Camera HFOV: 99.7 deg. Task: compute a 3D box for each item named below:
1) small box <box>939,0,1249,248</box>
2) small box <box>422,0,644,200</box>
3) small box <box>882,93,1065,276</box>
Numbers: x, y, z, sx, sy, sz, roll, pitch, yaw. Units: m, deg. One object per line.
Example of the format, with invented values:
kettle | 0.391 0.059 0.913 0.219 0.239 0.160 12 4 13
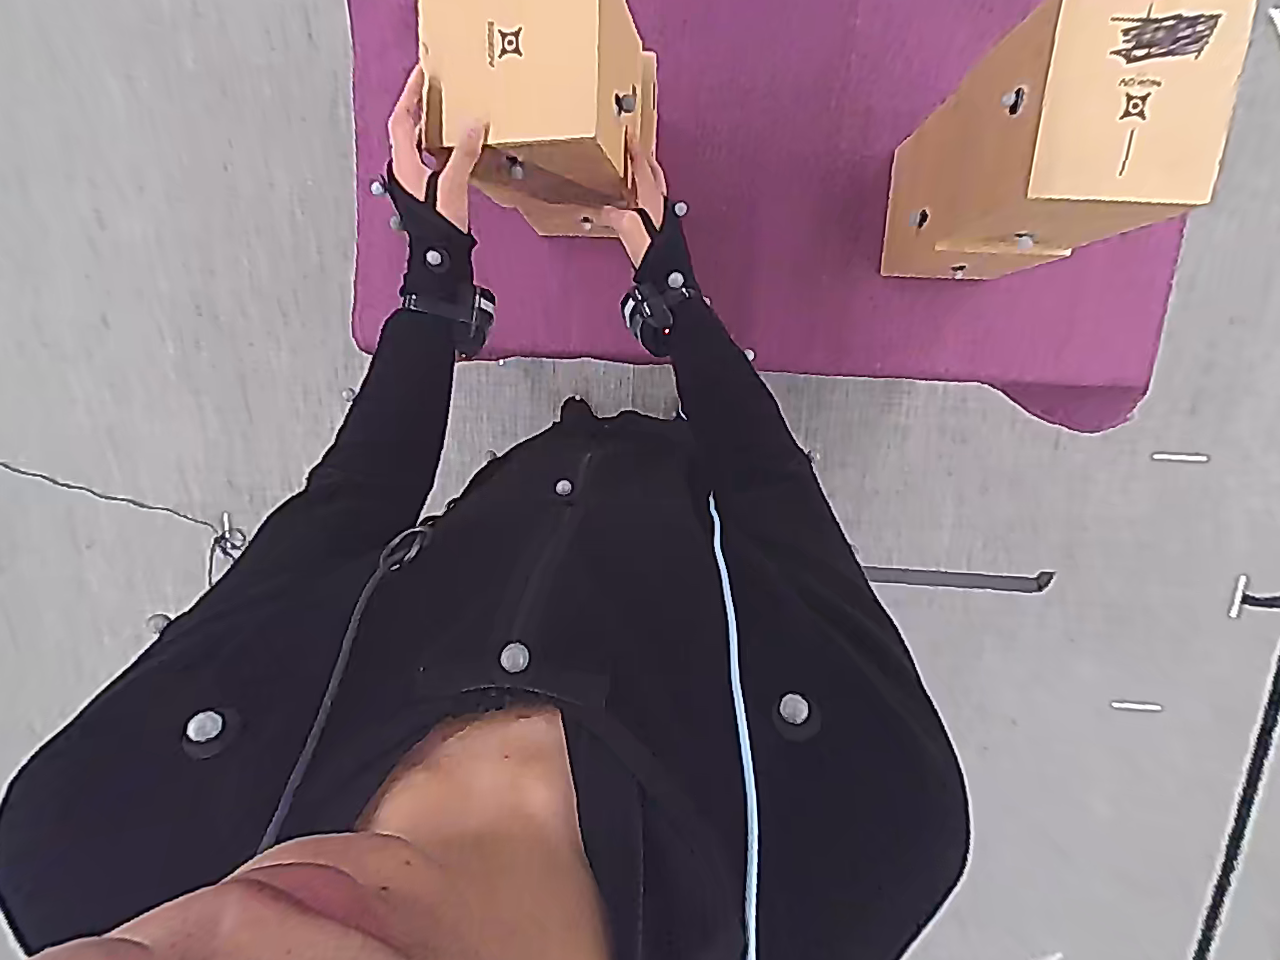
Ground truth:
small box | 0.441 -0.356 0.561 0.168 0.176 0.179 4 102 1
small box | -0.097 -0.402 0.556 0.179 0.176 0.168 4 101 13
small box | 0.444 -0.379 0.724 0.168 0.176 0.179 3 101 1
